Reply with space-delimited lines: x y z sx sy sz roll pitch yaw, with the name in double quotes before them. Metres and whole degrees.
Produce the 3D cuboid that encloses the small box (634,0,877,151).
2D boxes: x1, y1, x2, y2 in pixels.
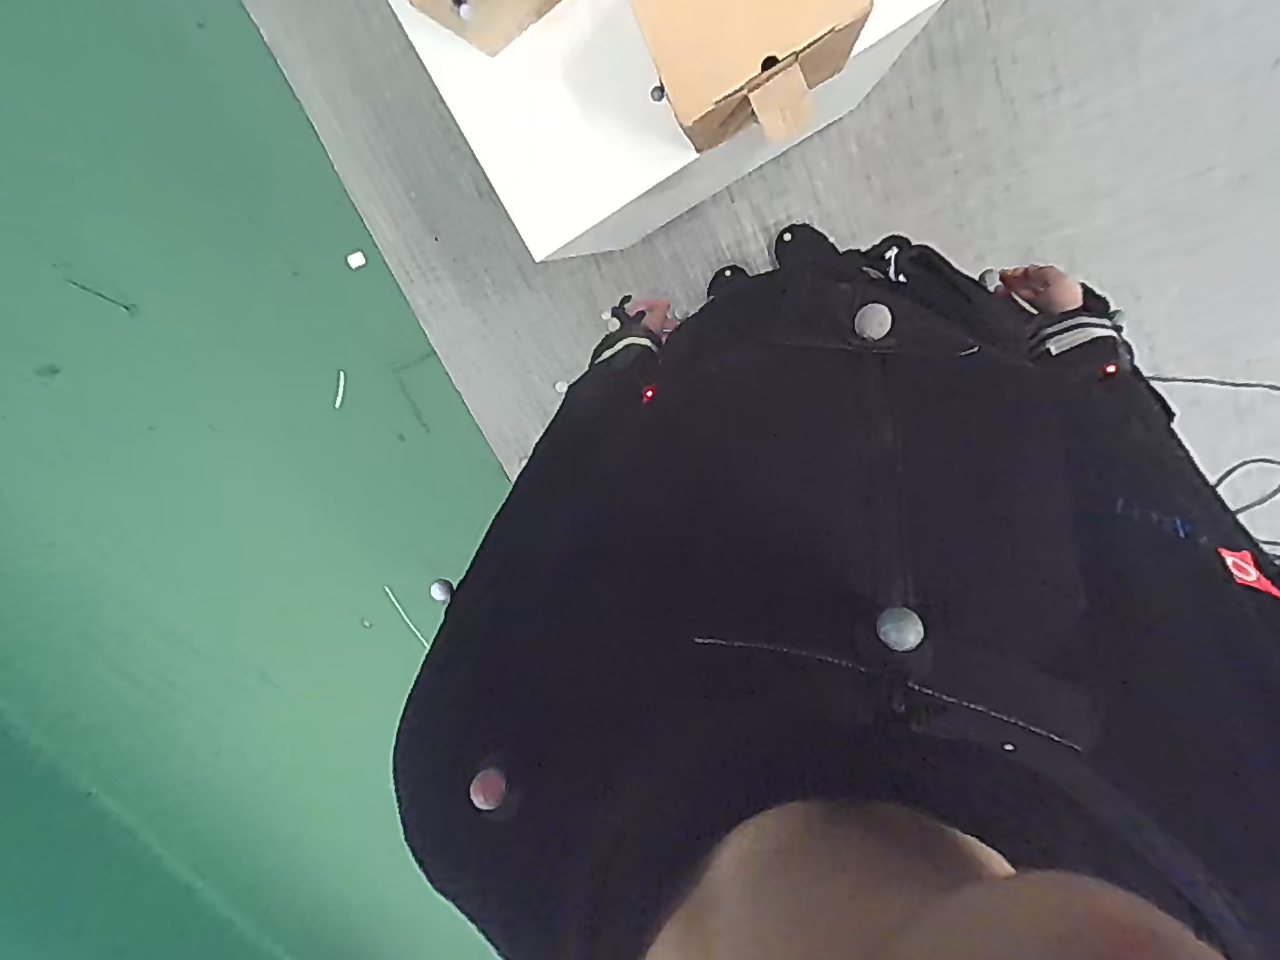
"small box" 0.086 -0.433 0.485 0.168 0.176 0.179 -22 108 20
